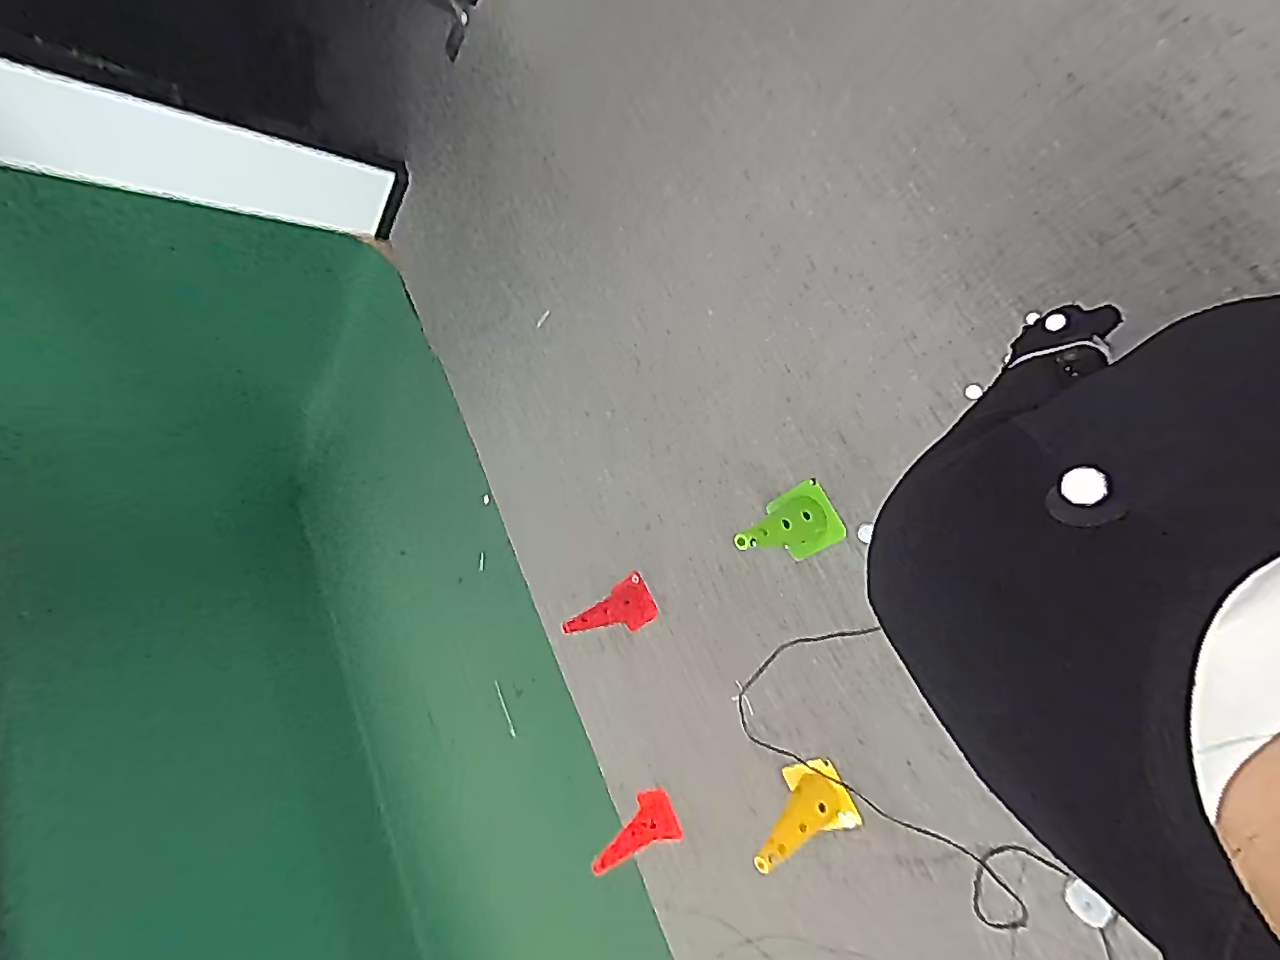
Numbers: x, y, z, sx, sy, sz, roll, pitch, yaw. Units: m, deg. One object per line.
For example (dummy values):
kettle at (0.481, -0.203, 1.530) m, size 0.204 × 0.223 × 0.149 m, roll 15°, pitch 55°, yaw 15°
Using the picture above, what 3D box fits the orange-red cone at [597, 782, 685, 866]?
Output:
orange-red cone at (-0.026, 1.379, 2.116) m, size 0.199 × 0.360 × 0.198 m, roll -38°, pitch 72°, yaw 40°

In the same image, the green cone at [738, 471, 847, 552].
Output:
green cone at (0.383, 0.121, 1.512) m, size 0.200 × 0.368 × 0.202 m, roll -41°, pitch 70°, yaw 40°

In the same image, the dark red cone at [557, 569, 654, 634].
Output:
dark red cone at (-0.150, 0.497, 2.053) m, size 0.201 × 0.394 × 0.202 m, roll -46°, pitch 66°, yaw 40°
